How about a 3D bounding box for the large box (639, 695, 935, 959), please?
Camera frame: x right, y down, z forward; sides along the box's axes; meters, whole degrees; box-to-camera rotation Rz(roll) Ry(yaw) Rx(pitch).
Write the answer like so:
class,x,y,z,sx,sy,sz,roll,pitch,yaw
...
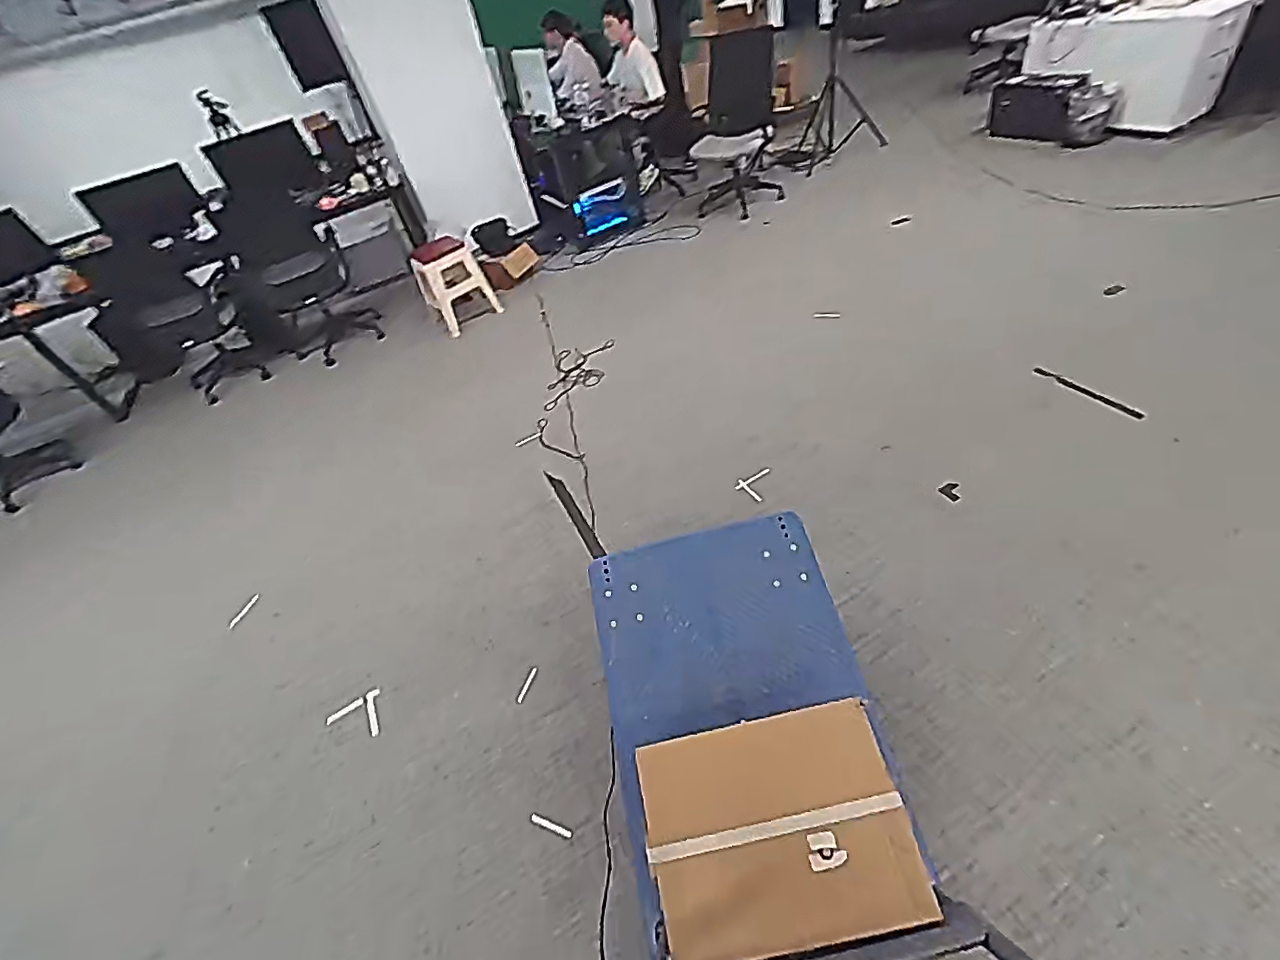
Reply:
class,x,y,z,sx,sy,sz,roll,pitch,yaw
large box,0.240,0.631,1.010,0.408,0.320,0.320,-14,61,1
